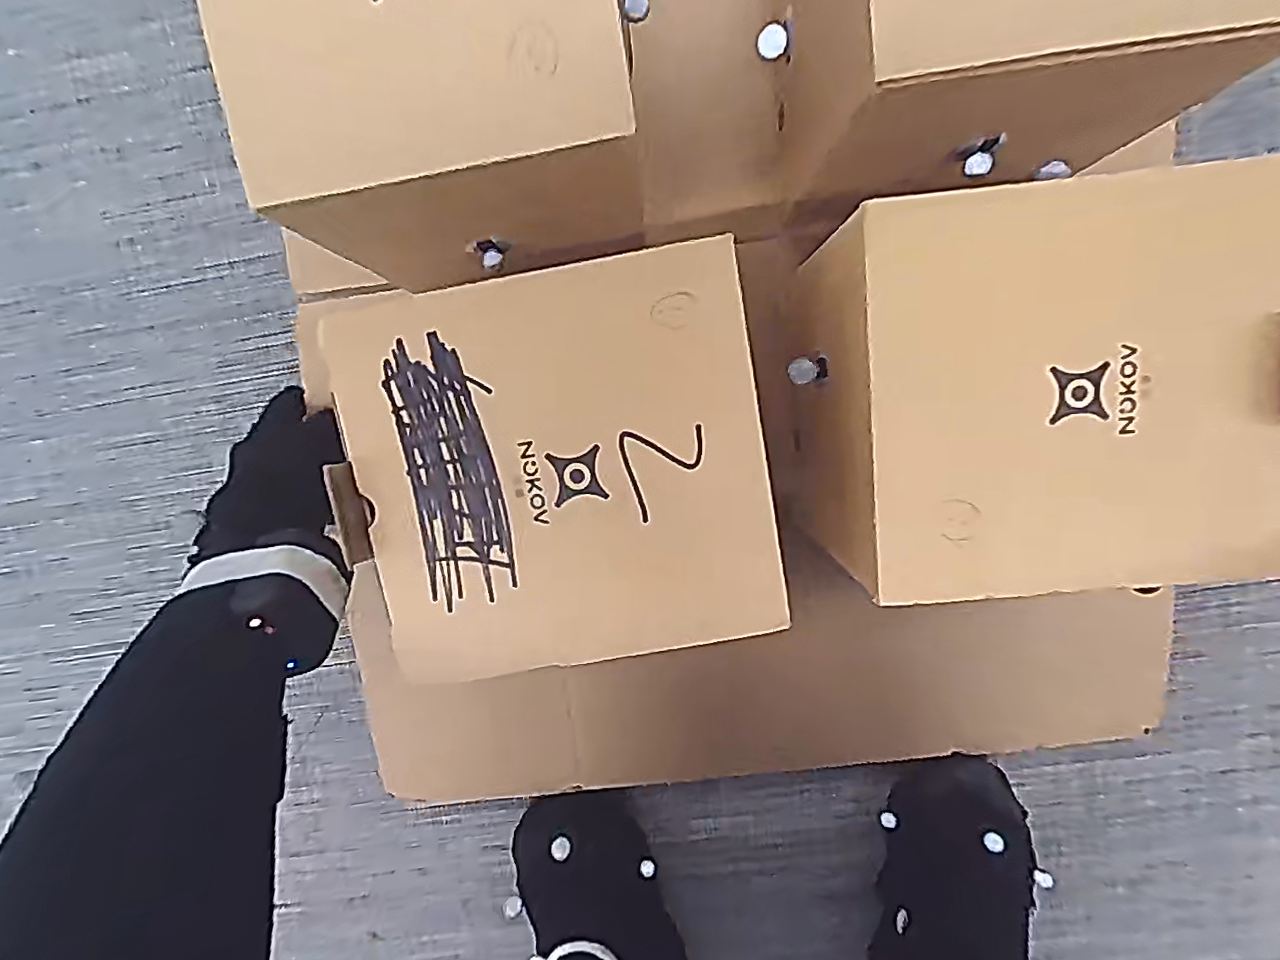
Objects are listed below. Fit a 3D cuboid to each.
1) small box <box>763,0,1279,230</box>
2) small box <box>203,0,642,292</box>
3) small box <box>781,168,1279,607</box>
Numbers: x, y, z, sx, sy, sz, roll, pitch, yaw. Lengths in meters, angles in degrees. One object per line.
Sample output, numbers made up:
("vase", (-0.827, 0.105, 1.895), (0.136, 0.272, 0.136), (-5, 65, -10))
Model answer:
("small box", (0.169, -0.246, 0.277), (0.179, 0.176, 0.168), (-5, 97, 4))
("small box", (-0.092, -0.212, 0.294), (0.168, 0.176, 0.179), (-8, 96, 3))
("small box", (0.178, -0.042, 0.294), (0.179, 0.176, 0.168), (-5, 99, 2))
